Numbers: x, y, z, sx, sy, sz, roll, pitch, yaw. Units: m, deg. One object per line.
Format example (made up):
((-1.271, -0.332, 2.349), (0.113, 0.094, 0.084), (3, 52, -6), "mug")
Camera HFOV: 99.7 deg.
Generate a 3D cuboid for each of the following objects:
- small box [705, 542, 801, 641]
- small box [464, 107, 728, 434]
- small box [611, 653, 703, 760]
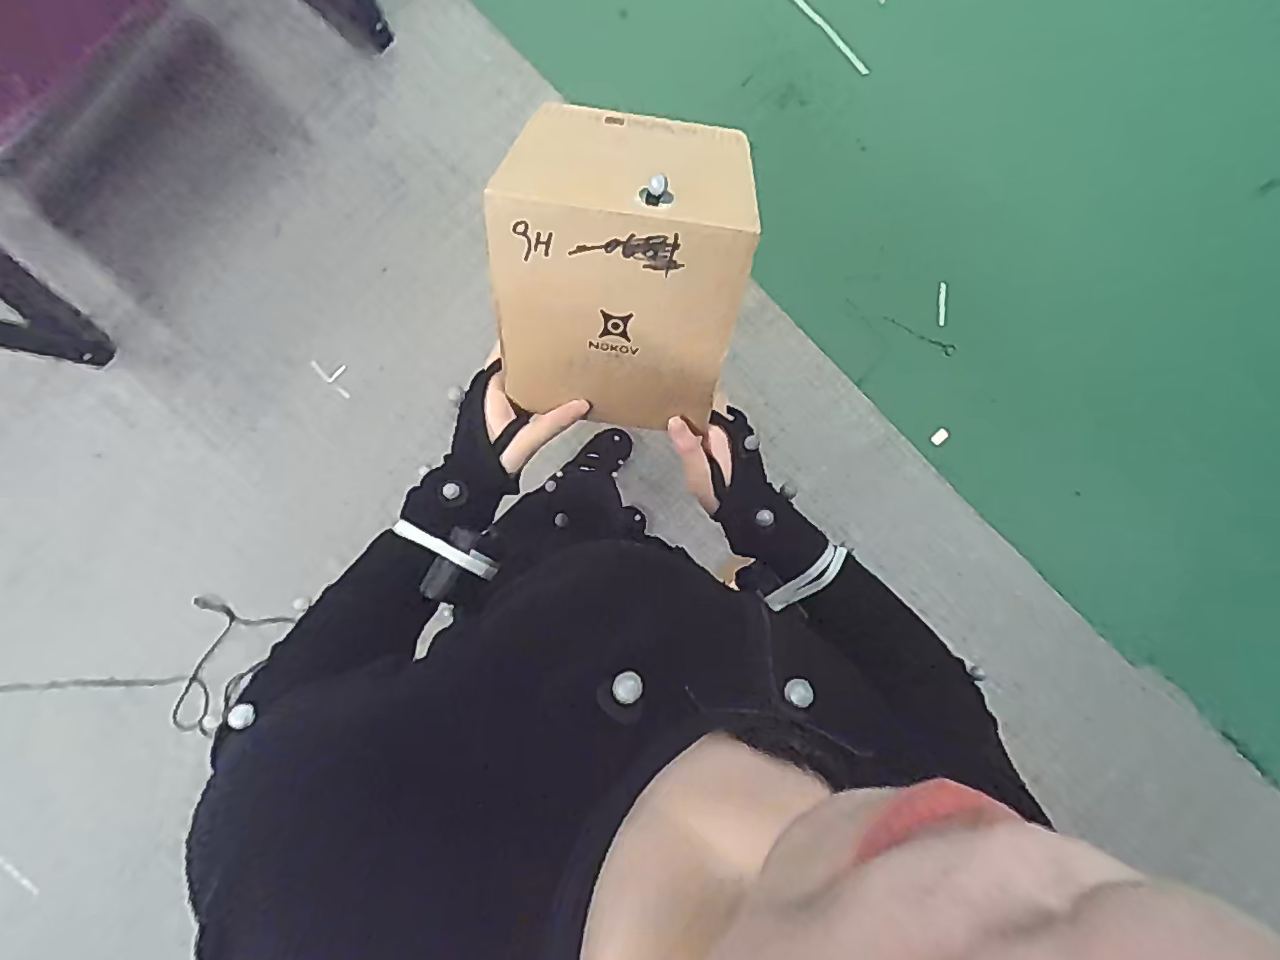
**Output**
((0.290, 0.289, 1.439), (0.168, 0.176, 0.179), (43, 89, -3), "small box")
((-0.027, -0.165, 0.440), (0.168, 0.179, 0.176), (7, 51, -2), "small box")
((0.039, 0.586, 1.434), (0.179, 0.176, 0.168), (44, 89, -3), "small box")
